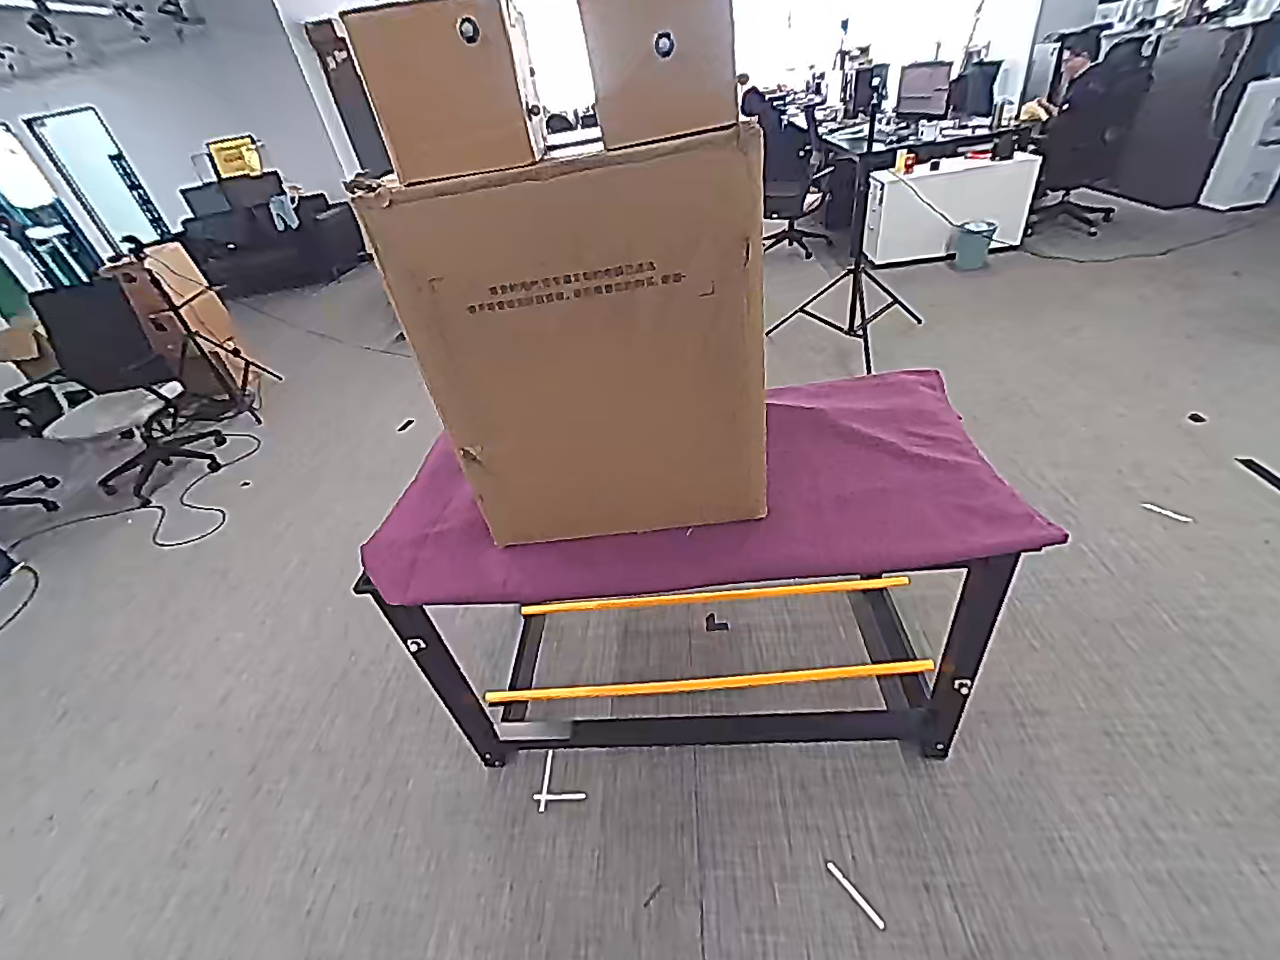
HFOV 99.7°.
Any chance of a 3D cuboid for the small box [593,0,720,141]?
[{"bbox_3d":[0.033,-0.642,0.841,0.168,0.176,0.179,-6,37,8],"label":"small box"}]
